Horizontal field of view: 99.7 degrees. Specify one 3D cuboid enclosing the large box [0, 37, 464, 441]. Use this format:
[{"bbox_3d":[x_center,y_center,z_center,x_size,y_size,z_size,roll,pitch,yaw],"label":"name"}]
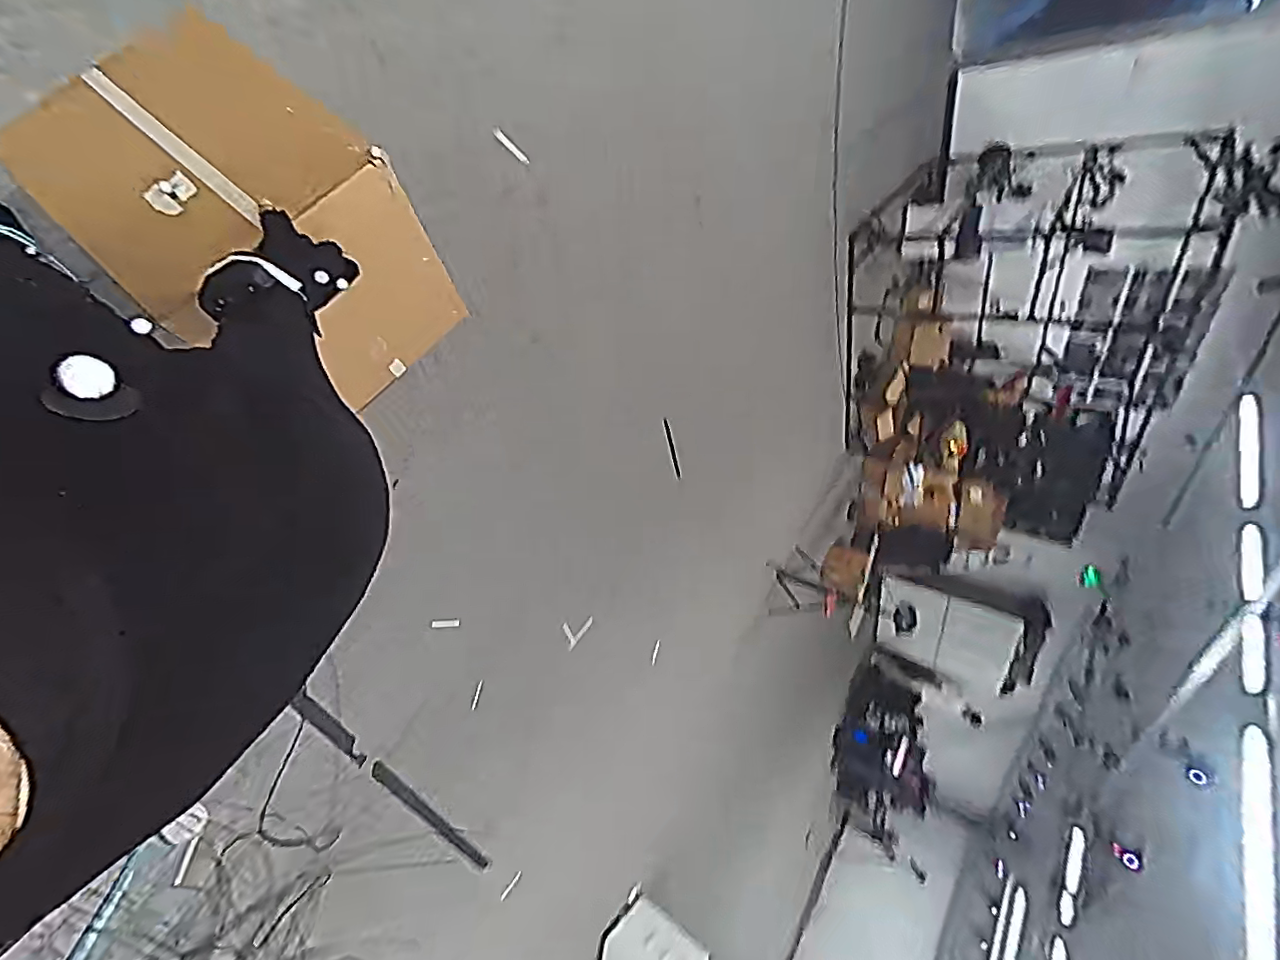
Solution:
[{"bbox_3d":[-0.549,-0.333,0.805,0.320,0.408,0.320,-47,167,-12],"label":"large box"}]
